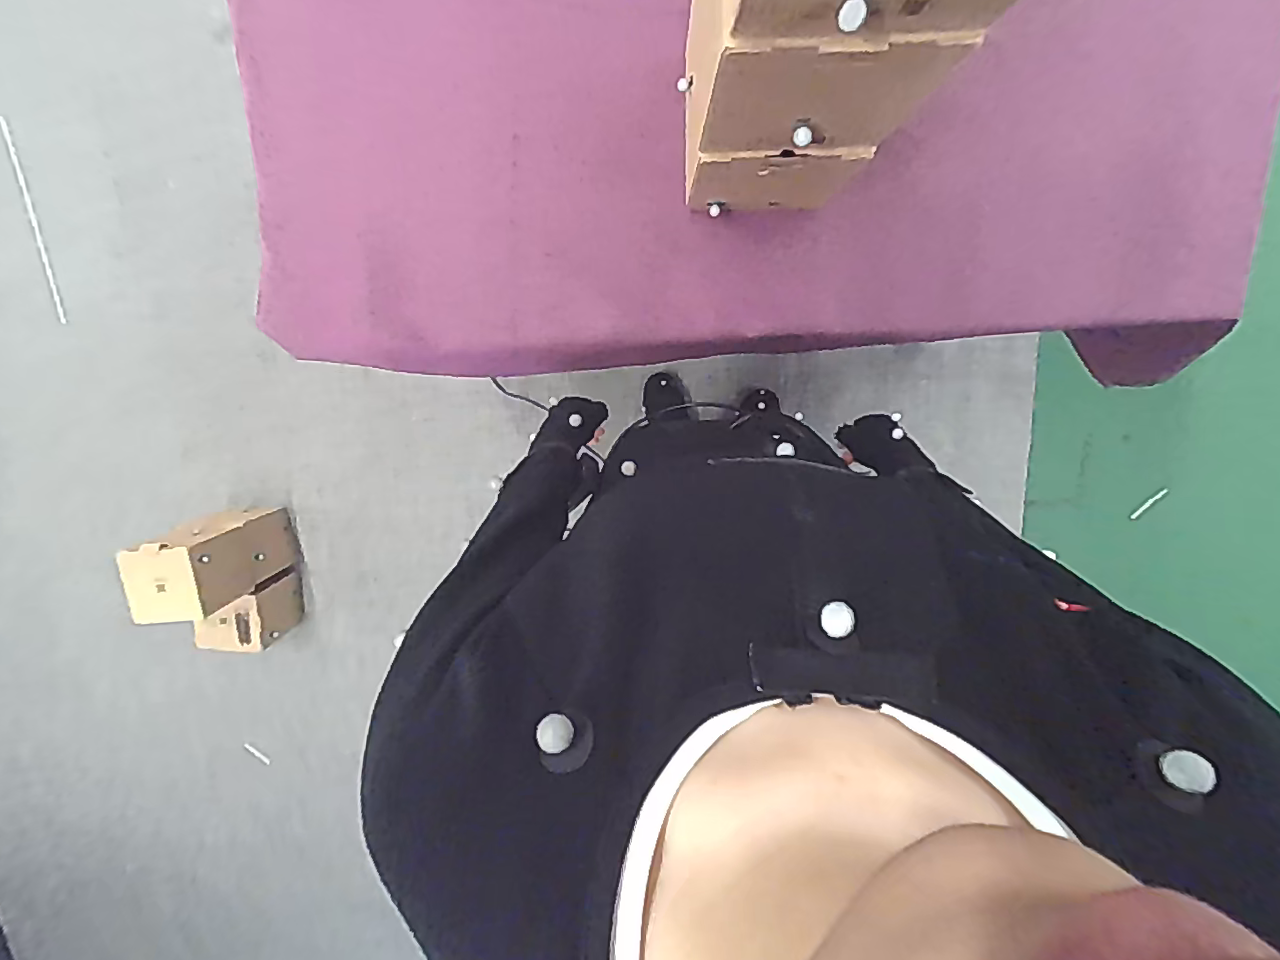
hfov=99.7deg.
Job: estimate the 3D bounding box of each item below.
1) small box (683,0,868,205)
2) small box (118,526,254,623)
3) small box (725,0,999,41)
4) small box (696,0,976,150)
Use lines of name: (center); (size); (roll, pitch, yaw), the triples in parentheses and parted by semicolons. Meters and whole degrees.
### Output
small box: (0.134, -0.403, 0.571); (0.168, 0.176, 0.179); (-1, 101, 1)
small box: (-1.066, 0.221, 1.287); (0.168, 0.176, 0.179); (-4, 101, 1)
small box: (0.130, -0.350, 0.247); (0.168, 0.176, 0.179); (-1, 102, 2)
small box: (0.131, -0.378, 0.407); (0.168, 0.176, 0.179); (-1, 102, 1)
